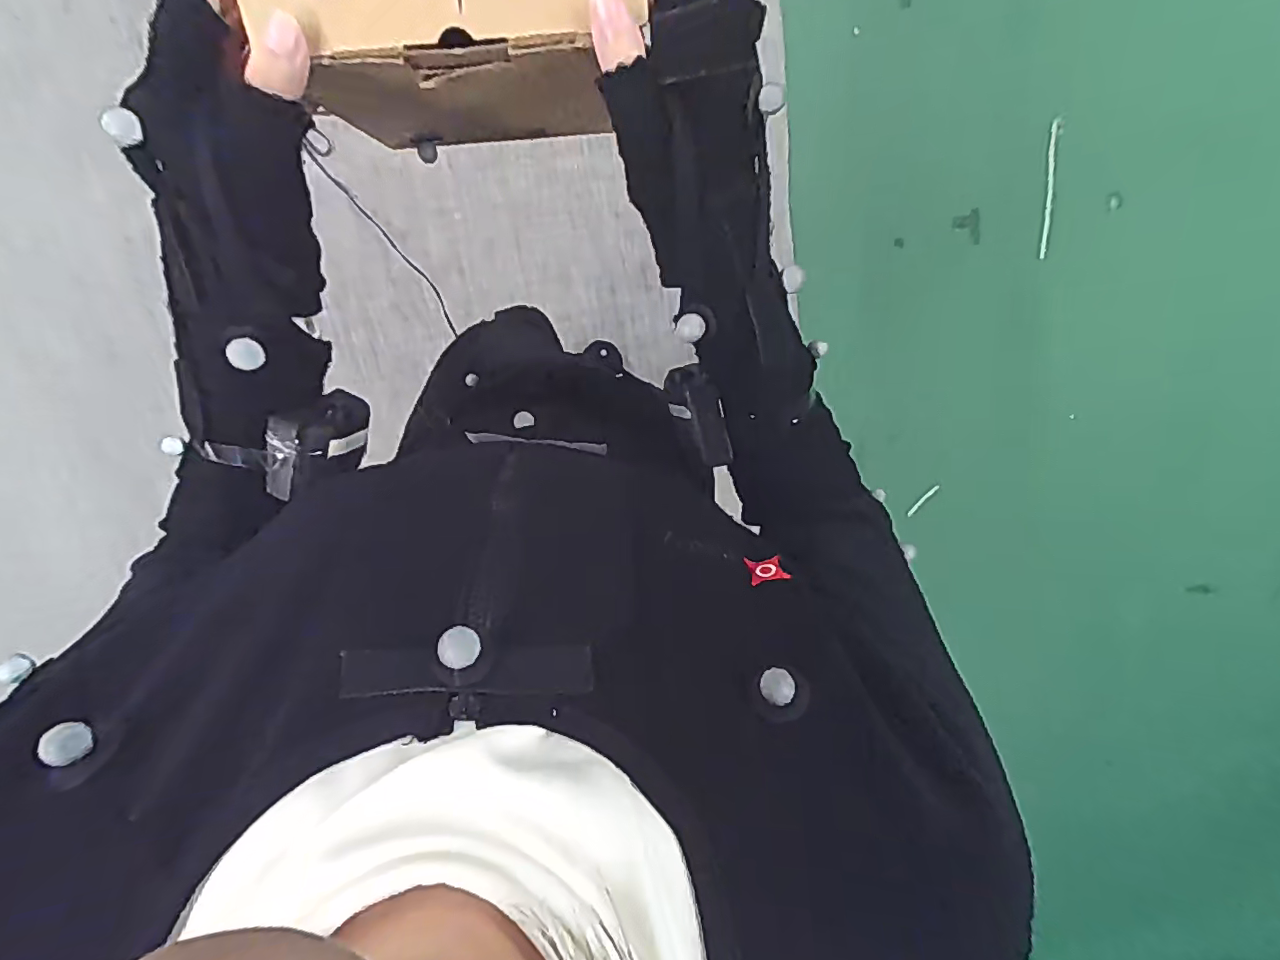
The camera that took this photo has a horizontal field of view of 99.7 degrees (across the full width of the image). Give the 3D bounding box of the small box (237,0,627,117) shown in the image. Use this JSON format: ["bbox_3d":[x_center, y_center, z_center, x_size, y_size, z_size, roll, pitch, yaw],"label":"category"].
[{"bbox_3d":[-0.095,-0.302,0.270,0.168,0.176,0.179,-6,110,-3],"label":"small box"}]
